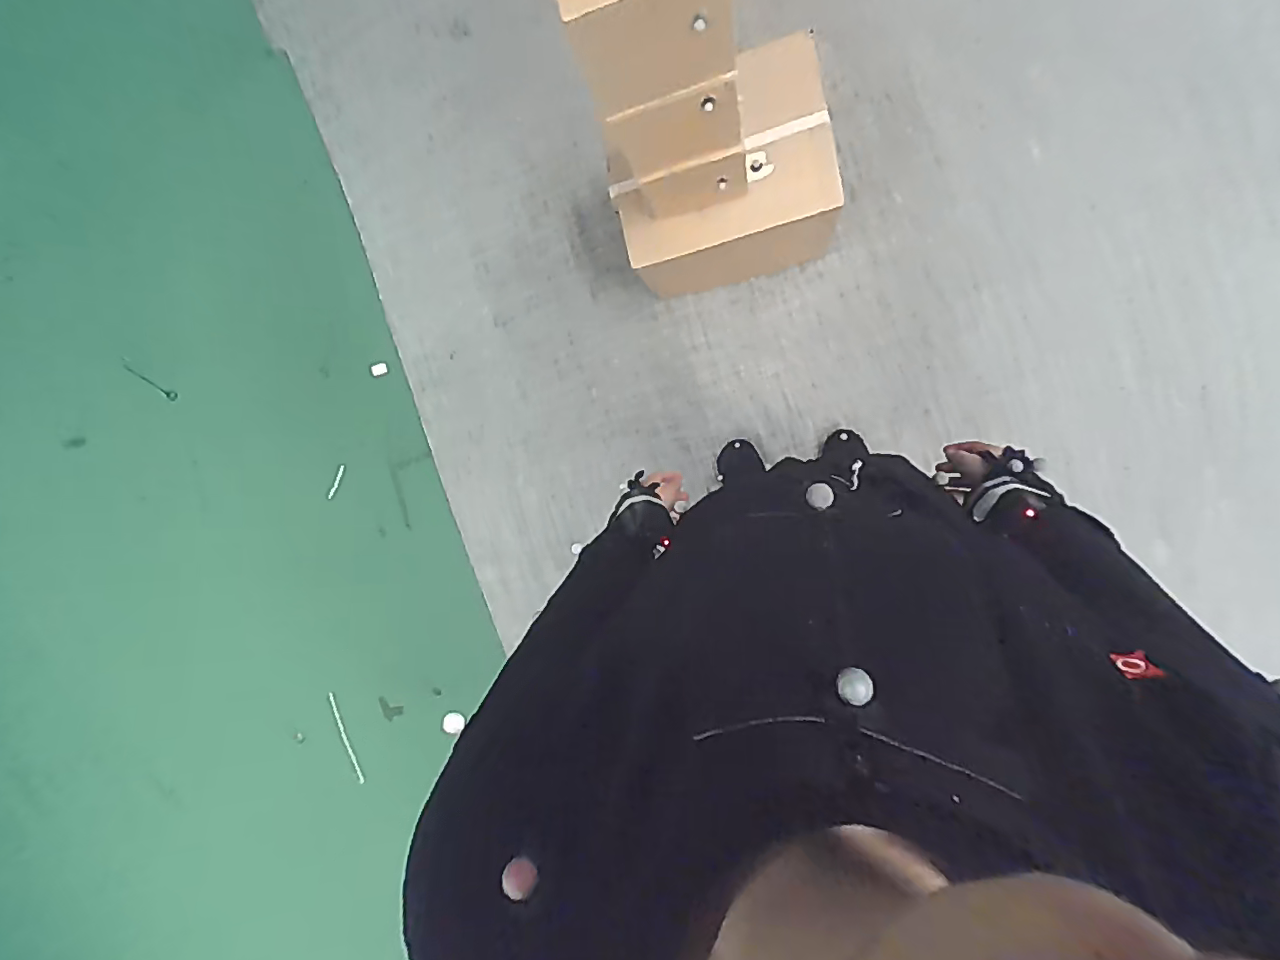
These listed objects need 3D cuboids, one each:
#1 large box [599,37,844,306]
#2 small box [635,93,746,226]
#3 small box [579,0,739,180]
[{"bbox_3d":[0.172,-0.604,1.146,0.408,0.320,0.320,-13,94,13],"label":"large box"},{"bbox_3d":[0.081,-0.564,0.922,0.179,0.176,0.168,-11,92,15],"label":"small box"},{"bbox_3d":[0.036,-0.561,0.765,0.179,0.176,0.168,-12,92,13],"label":"small box"}]
